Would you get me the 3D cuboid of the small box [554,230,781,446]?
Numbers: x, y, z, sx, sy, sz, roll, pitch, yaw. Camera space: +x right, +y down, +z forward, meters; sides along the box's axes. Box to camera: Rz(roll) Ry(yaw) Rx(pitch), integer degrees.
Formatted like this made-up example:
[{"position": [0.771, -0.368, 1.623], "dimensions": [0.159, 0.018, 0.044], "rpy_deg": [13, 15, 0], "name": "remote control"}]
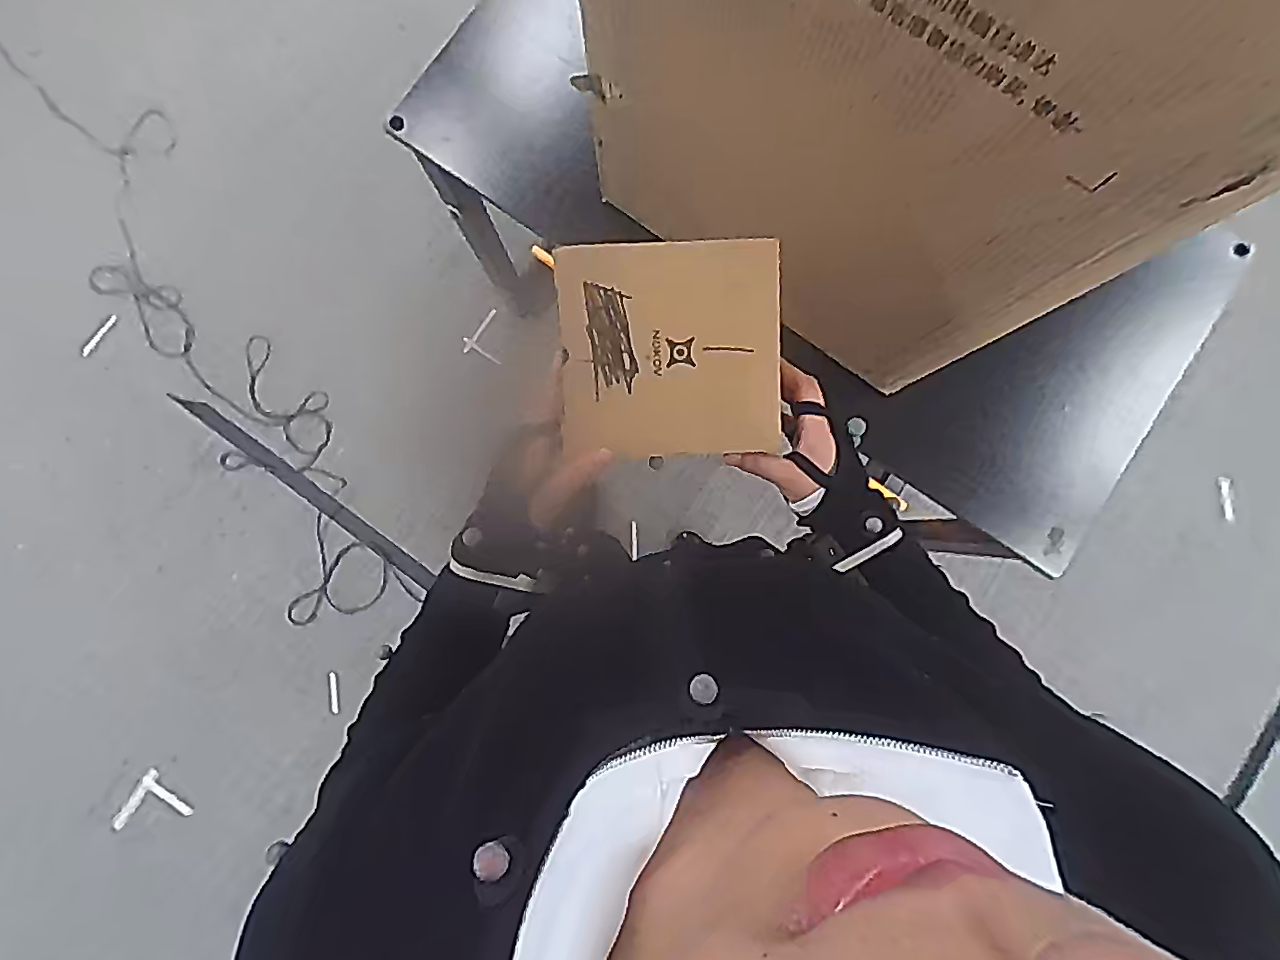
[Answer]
[{"position": [0.023, -0.116, 0.499], "dimensions": [0.179, 0.176, 0.168], "rpy_deg": [-2, 96, 0], "name": "small box"}]
